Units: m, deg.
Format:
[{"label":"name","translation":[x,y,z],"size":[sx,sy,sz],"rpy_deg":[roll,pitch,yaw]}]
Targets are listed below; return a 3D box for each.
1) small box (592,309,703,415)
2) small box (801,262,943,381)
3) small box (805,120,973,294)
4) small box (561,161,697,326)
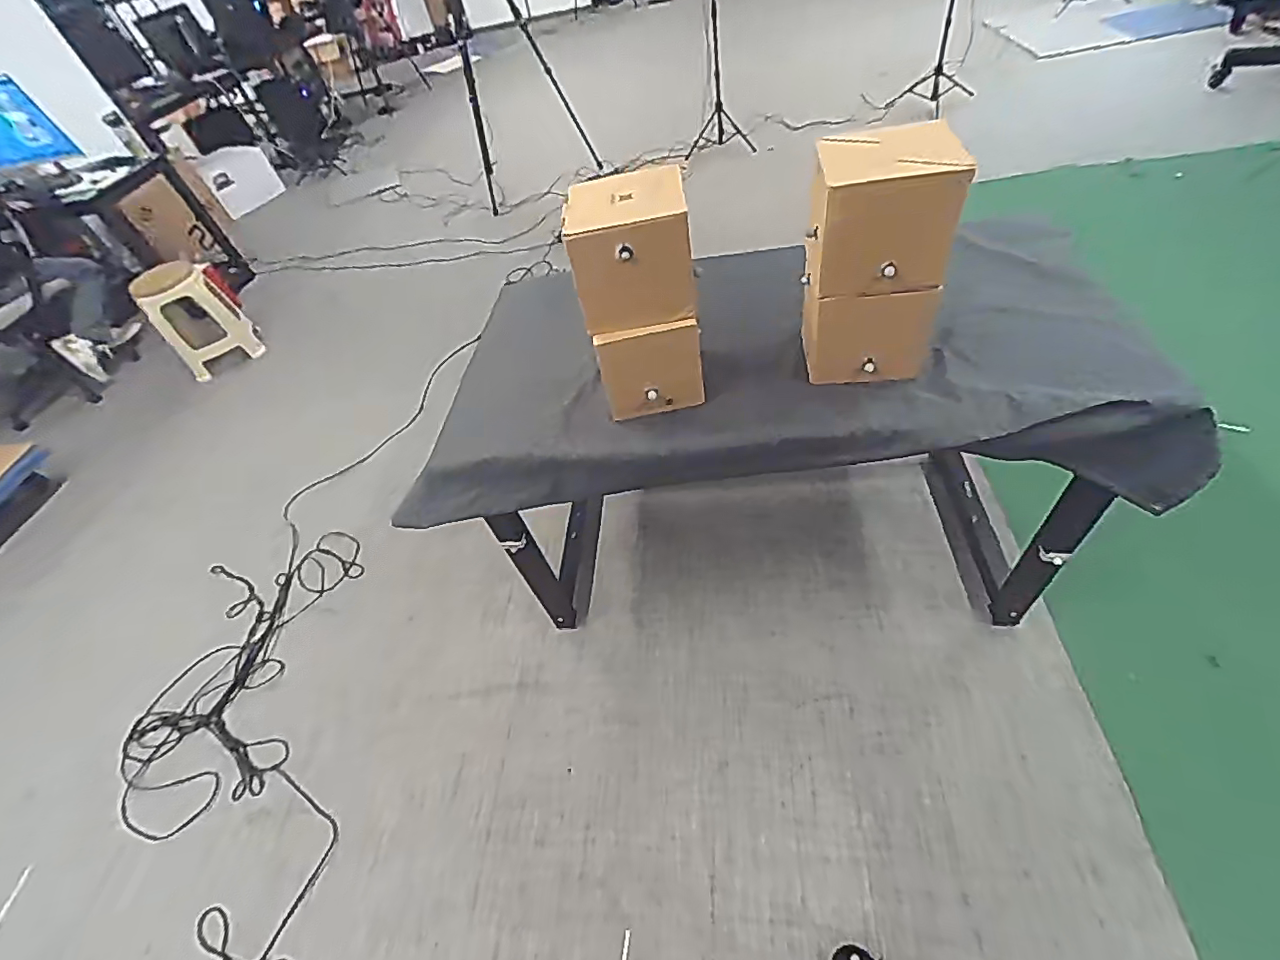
[{"label":"small box","translation":[0.012,-0.241,0.944],"size":[0.168,0.176,0.179],"rpy_deg":[-11,50,4]},{"label":"small box","translation":[0.371,-0.283,0.901],"size":[0.179,0.176,0.168],"rpy_deg":[-2,50,10]},{"label":"small box","translation":[0.341,-0.392,0.776],"size":[0.179,0.176,0.168],"rpy_deg":[-2,50,11]},{"label":"small box","translation":[-0.011,-0.356,0.832],"size":[0.179,0.176,0.168],"rpy_deg":[-7,51,5]}]
